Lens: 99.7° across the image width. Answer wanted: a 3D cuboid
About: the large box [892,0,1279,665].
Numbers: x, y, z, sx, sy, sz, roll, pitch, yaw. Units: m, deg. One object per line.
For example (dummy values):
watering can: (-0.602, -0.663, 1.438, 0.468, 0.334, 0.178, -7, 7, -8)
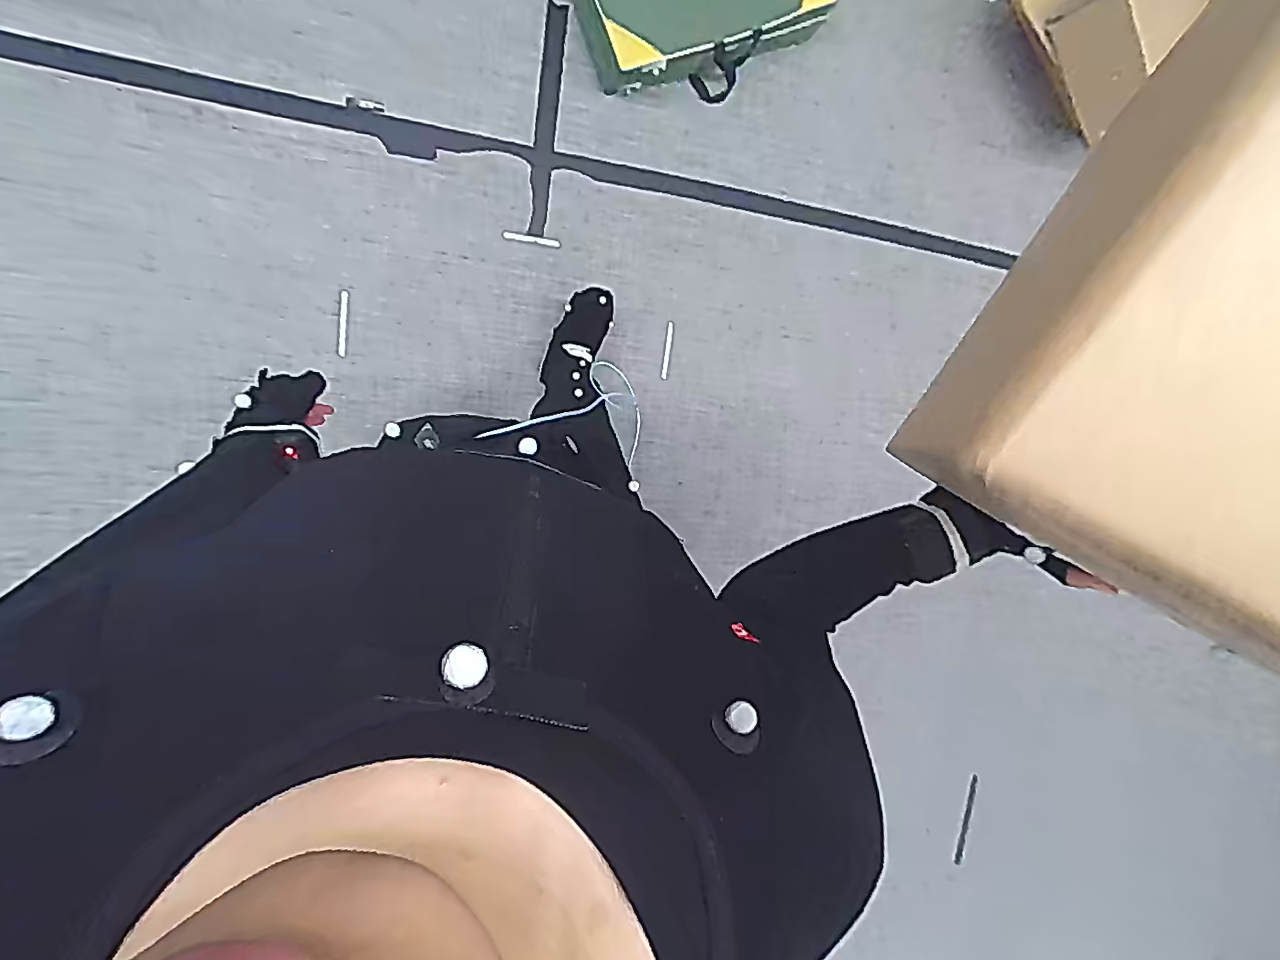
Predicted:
large box: (0.356, -0.073, 0.259, 0.320, 0.408, 0.320, 36, 105, 17)
